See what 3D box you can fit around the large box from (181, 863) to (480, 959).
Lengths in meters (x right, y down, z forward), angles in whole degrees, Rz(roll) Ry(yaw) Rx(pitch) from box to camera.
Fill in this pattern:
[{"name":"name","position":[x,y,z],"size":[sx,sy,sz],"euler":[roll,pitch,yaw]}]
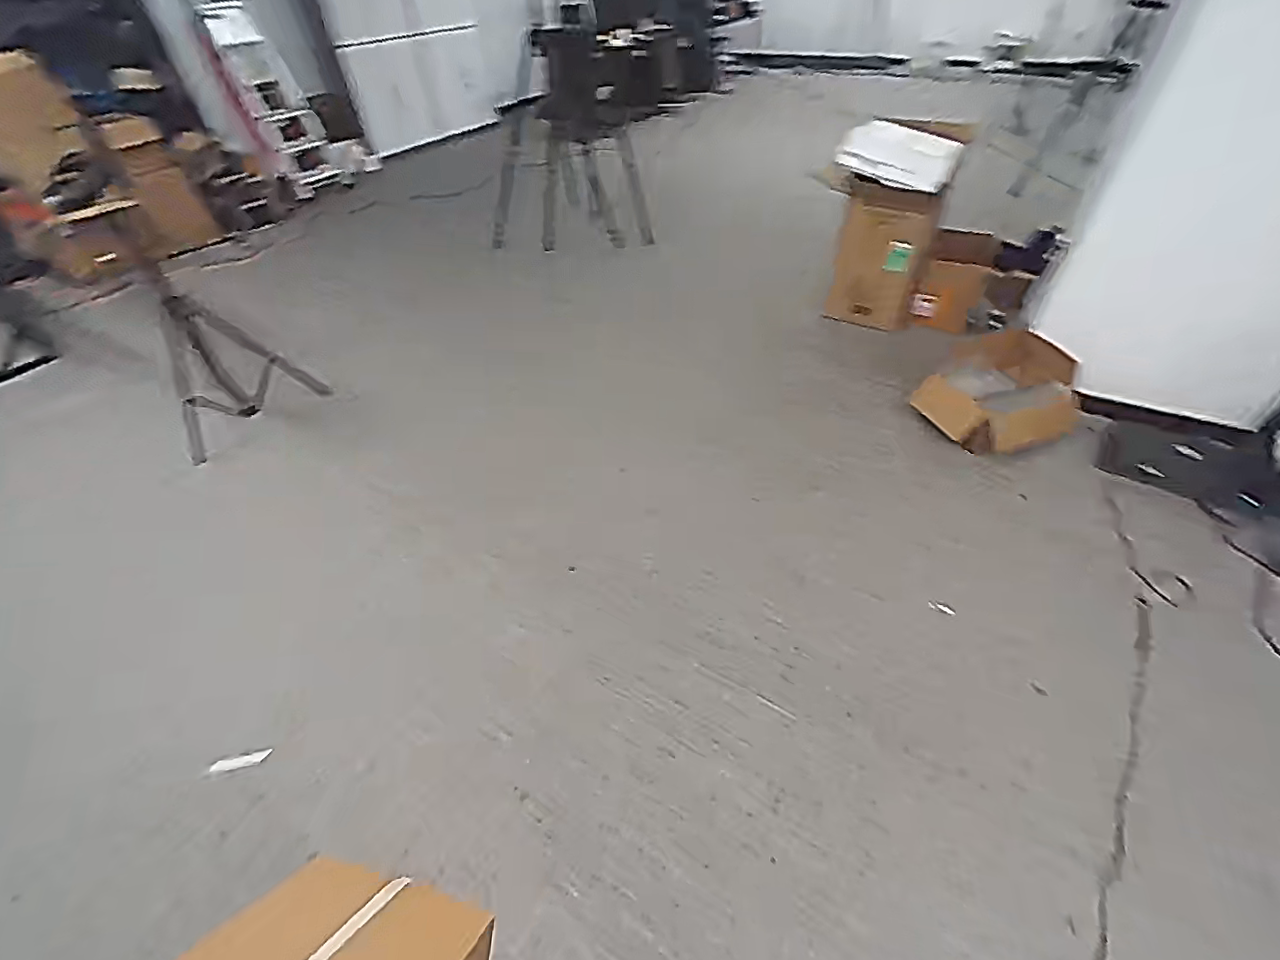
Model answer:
[{"name":"large box","position":[-0.441,0.758,0.627],"size":[0.320,0.408,0.320],"euler":[7,86,13]}]
